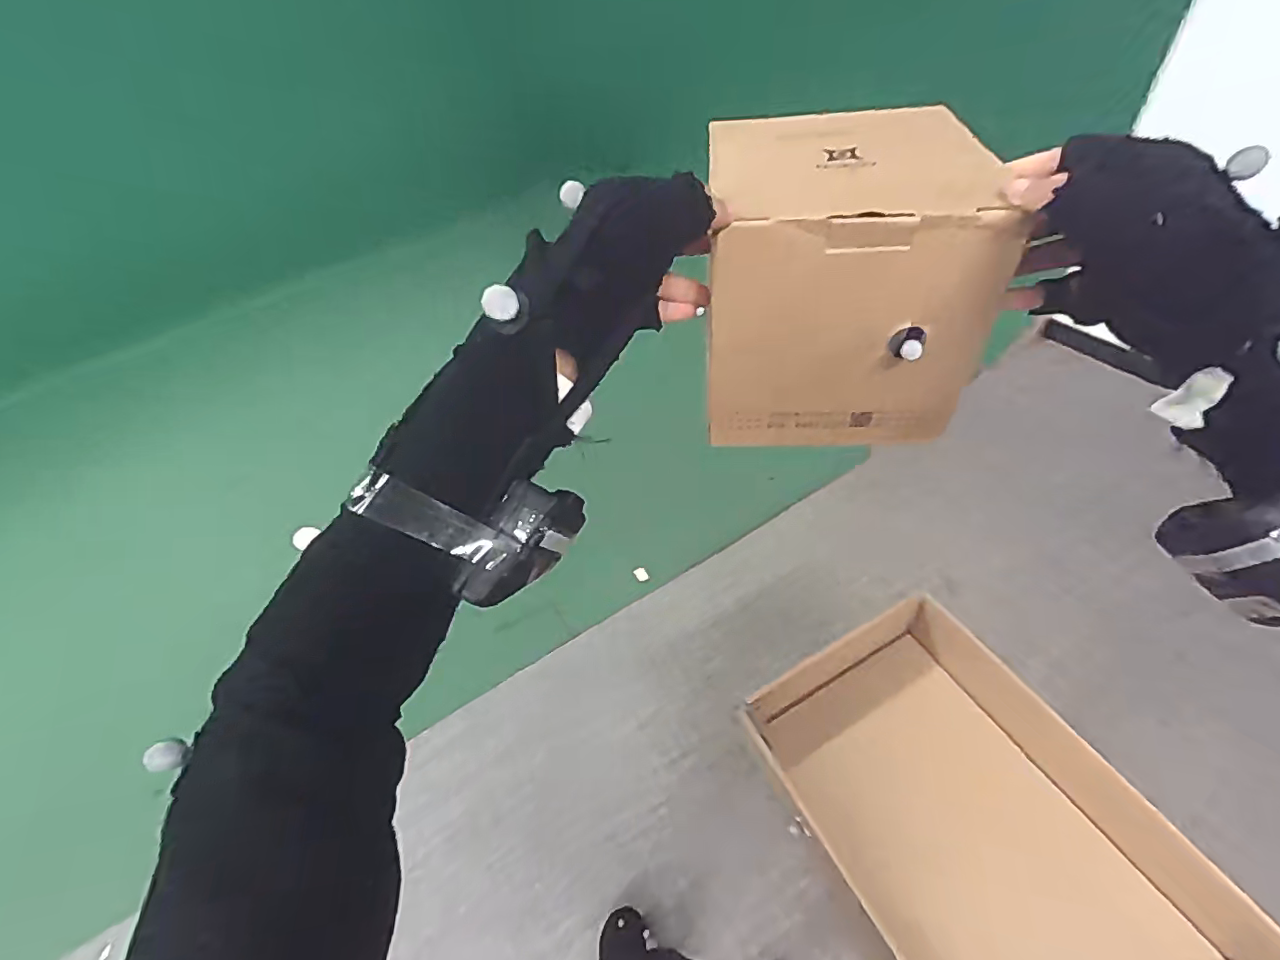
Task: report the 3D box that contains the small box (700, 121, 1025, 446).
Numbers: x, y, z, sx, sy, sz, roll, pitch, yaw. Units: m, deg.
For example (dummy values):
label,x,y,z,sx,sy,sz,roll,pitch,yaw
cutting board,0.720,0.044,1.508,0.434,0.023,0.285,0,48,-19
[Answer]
label,x,y,z,sx,sy,sz,roll,pitch,yaw
small box,0.129,-0.138,0.397,0.168,0.176,0.179,0,46,5
